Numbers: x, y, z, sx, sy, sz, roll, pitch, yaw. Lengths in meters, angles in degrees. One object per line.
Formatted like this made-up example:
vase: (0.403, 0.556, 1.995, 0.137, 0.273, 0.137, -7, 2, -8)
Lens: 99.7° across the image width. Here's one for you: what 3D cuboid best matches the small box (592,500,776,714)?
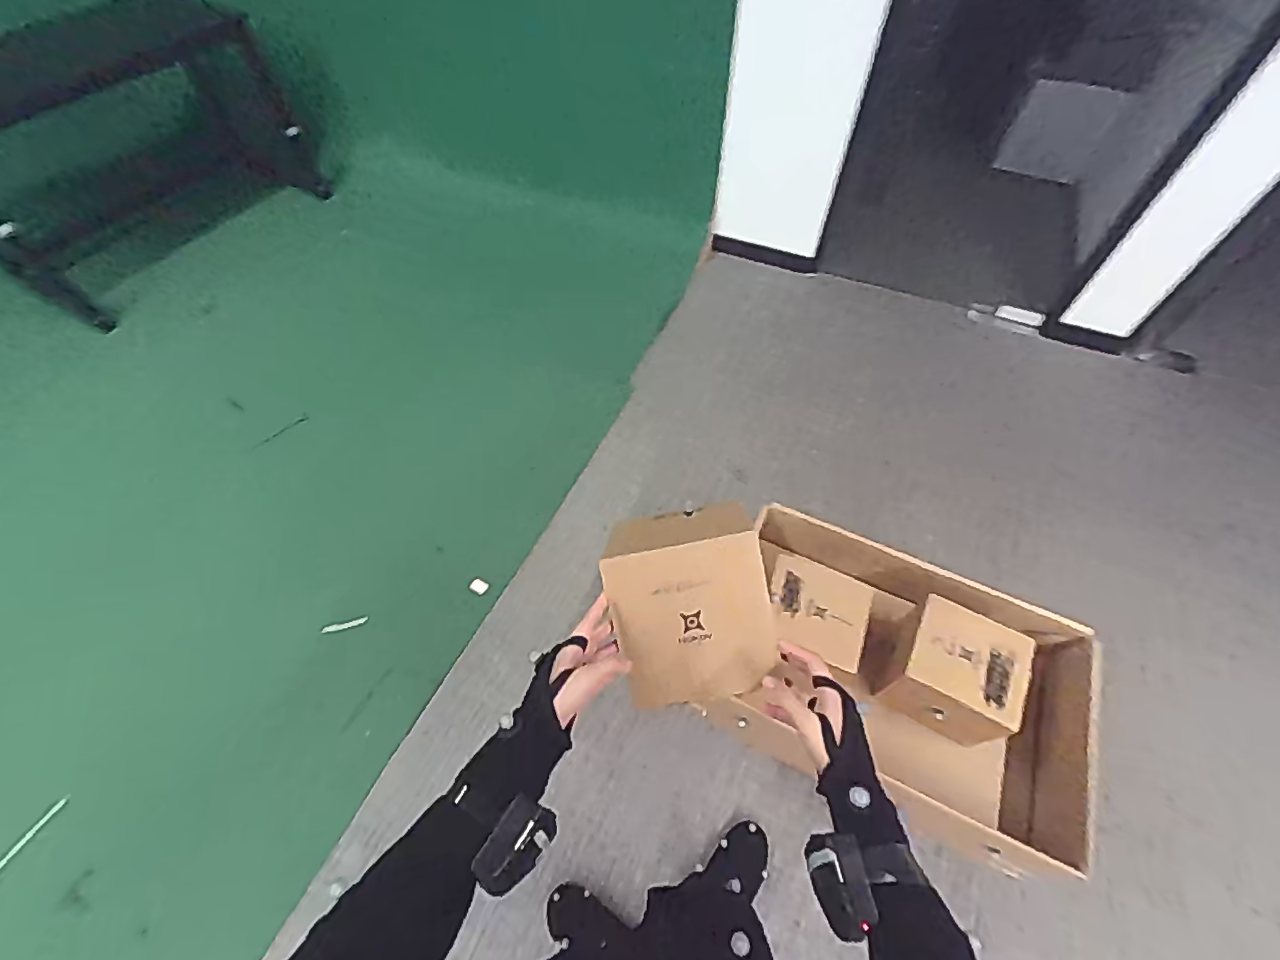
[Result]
small box: (0.053, 0.136, 0.629, 0.168, 0.176, 0.179, -11, 100, 6)
